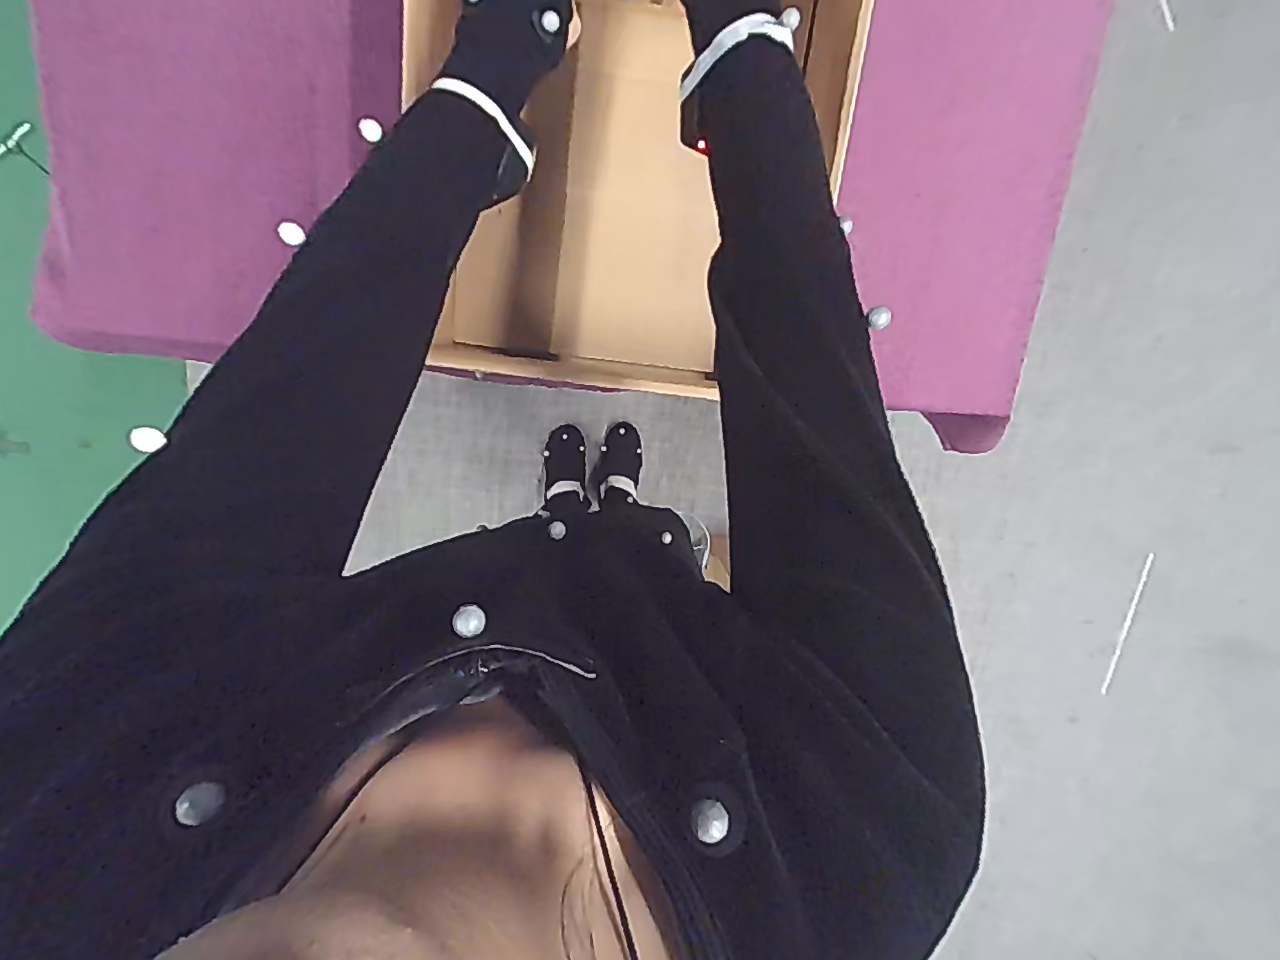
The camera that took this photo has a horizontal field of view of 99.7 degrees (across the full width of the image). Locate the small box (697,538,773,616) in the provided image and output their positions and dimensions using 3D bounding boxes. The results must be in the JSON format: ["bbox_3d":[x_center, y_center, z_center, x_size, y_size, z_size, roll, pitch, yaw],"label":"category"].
[{"bbox_3d":[0.256,0.265,1.500,0.179,0.176,0.168,-1,103,-4],"label":"small box"}]

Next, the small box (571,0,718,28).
[{"bbox_3d":[0.008,-0.558,0.480,0.168,0.176,0.179,5,104,-3],"label":"small box"}]
